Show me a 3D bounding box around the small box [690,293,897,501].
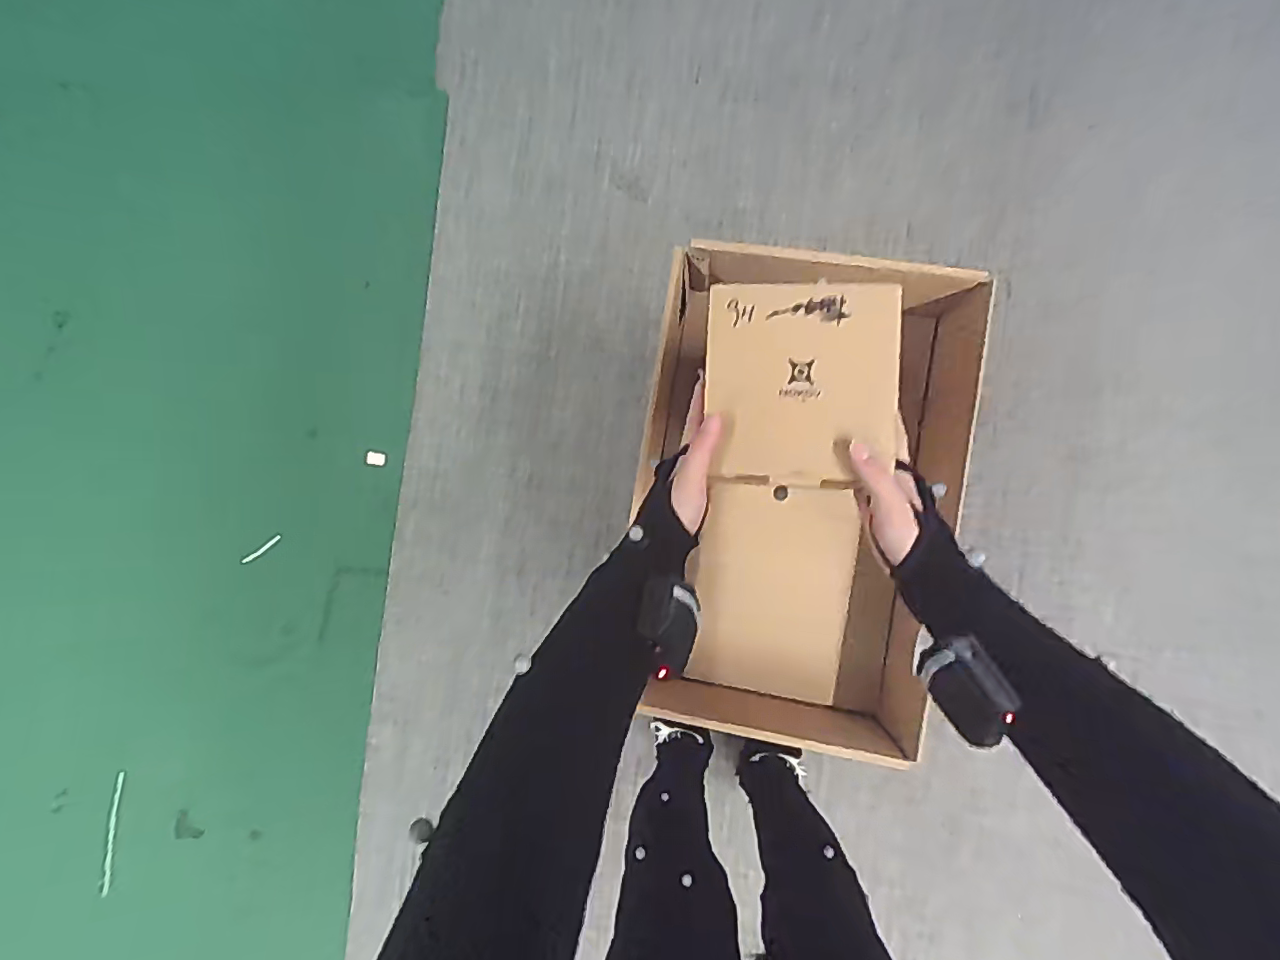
[{"bbox_3d":[0.142,-0.073,0.544,0.168,0.176,0.179,3,89,8],"label":"small box"}]
